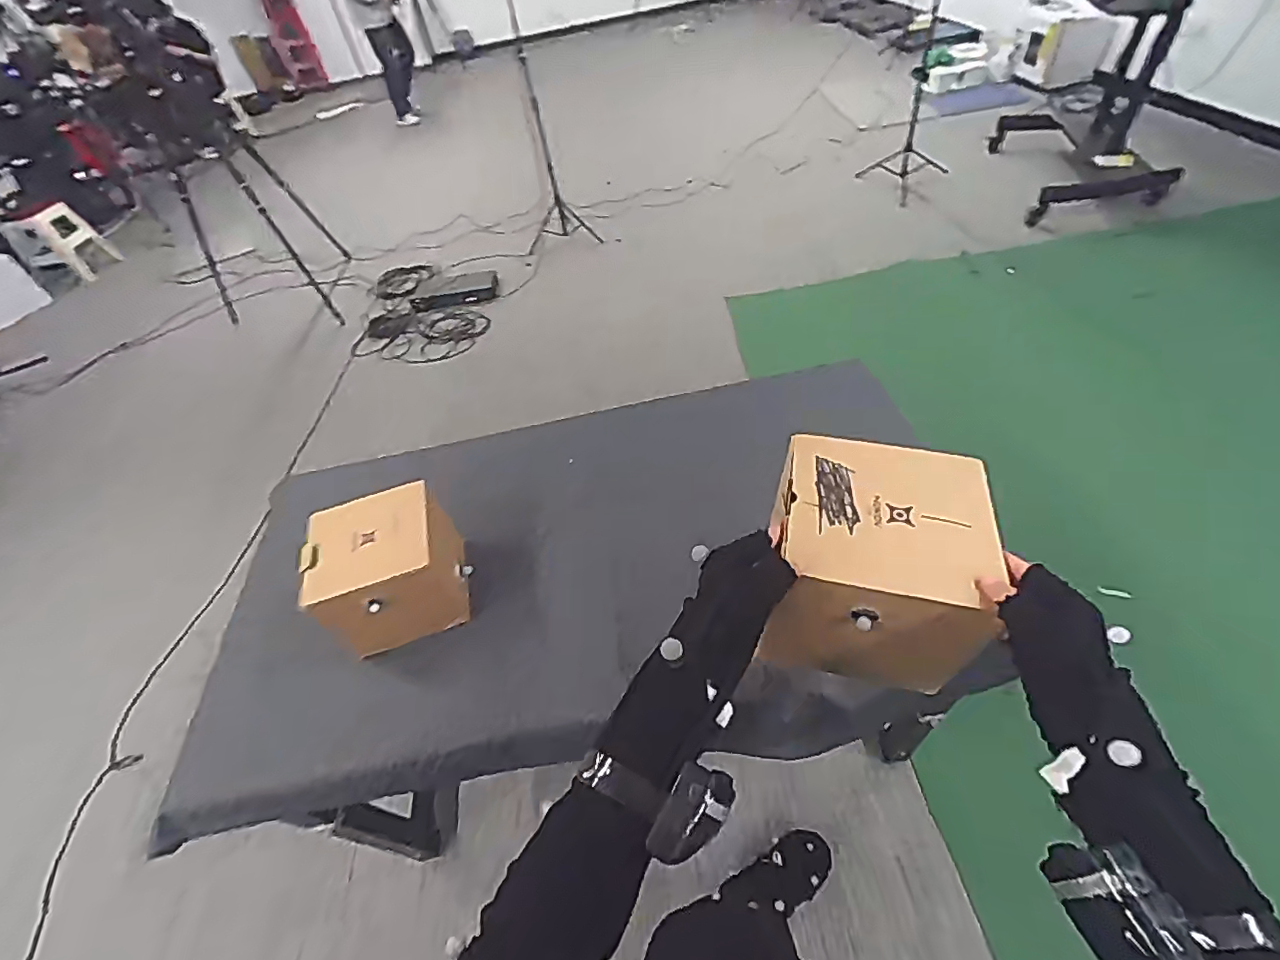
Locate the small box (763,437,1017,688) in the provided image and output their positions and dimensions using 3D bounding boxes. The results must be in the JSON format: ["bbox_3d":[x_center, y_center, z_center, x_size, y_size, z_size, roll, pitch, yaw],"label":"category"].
[{"bbox_3d":[0.224,0.084,0.533,0.179,0.176,0.168,10,51,10],"label":"small box"}]

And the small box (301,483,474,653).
[{"bbox_3d":[-0.373,0.138,0.823,0.179,0.176,0.168,-18,50,-7],"label":"small box"}]
